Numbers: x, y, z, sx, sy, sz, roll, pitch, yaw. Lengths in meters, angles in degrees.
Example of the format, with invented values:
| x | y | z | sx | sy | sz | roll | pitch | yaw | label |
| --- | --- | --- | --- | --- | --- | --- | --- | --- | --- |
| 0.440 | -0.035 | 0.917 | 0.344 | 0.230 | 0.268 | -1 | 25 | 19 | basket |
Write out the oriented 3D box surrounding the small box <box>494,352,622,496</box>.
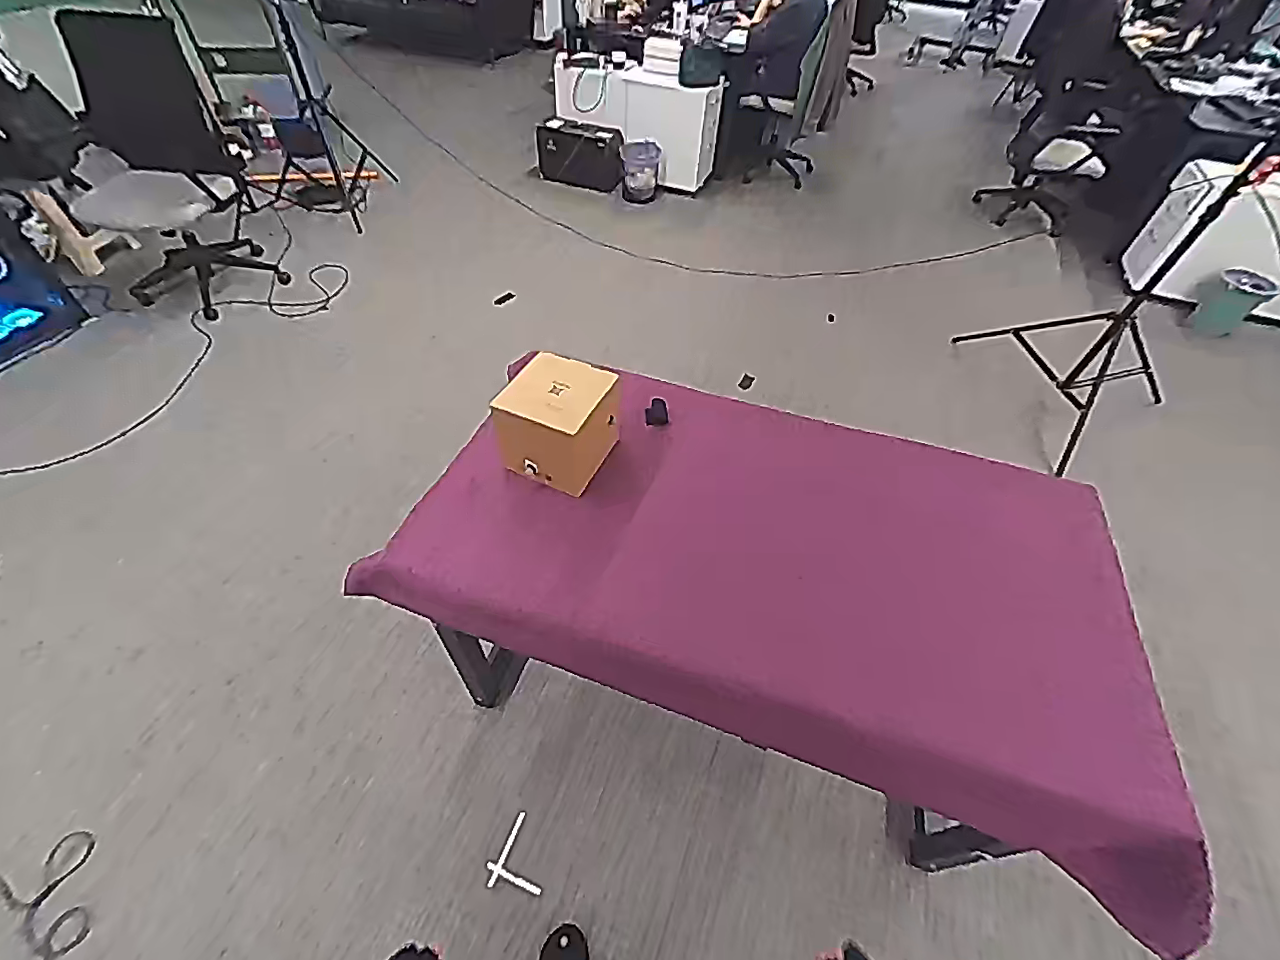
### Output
| x | y | z | sx | sy | sz | roll | pitch | yaw | label |
| --- | --- | --- | --- | --- | --- | --- | --- | --- | --- |
| -0.145 | -0.103 | 1.002 | 0.168 | 0.176 | 0.179 | 19 | 52 | 14 | small box |
